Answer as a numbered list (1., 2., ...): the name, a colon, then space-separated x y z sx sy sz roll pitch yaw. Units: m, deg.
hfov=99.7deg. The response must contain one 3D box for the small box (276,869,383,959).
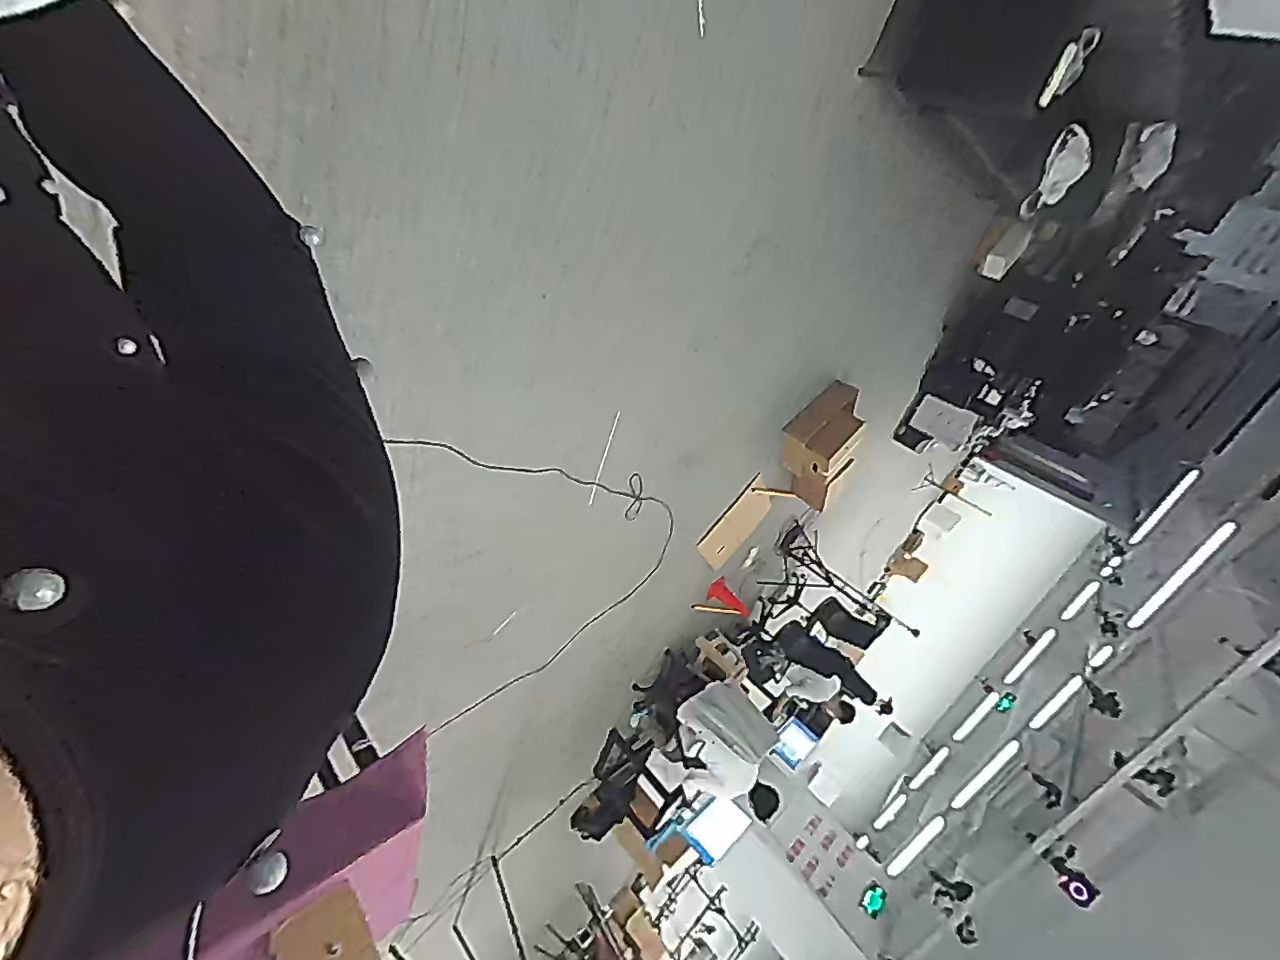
1. small box: -0.758 1.107 1.317 0.179 0.176 0.168 -11 130 -47

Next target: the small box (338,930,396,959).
1. small box: -0.650 1.196 1.231 0.179 0.176 0.168 -13 131 -48
